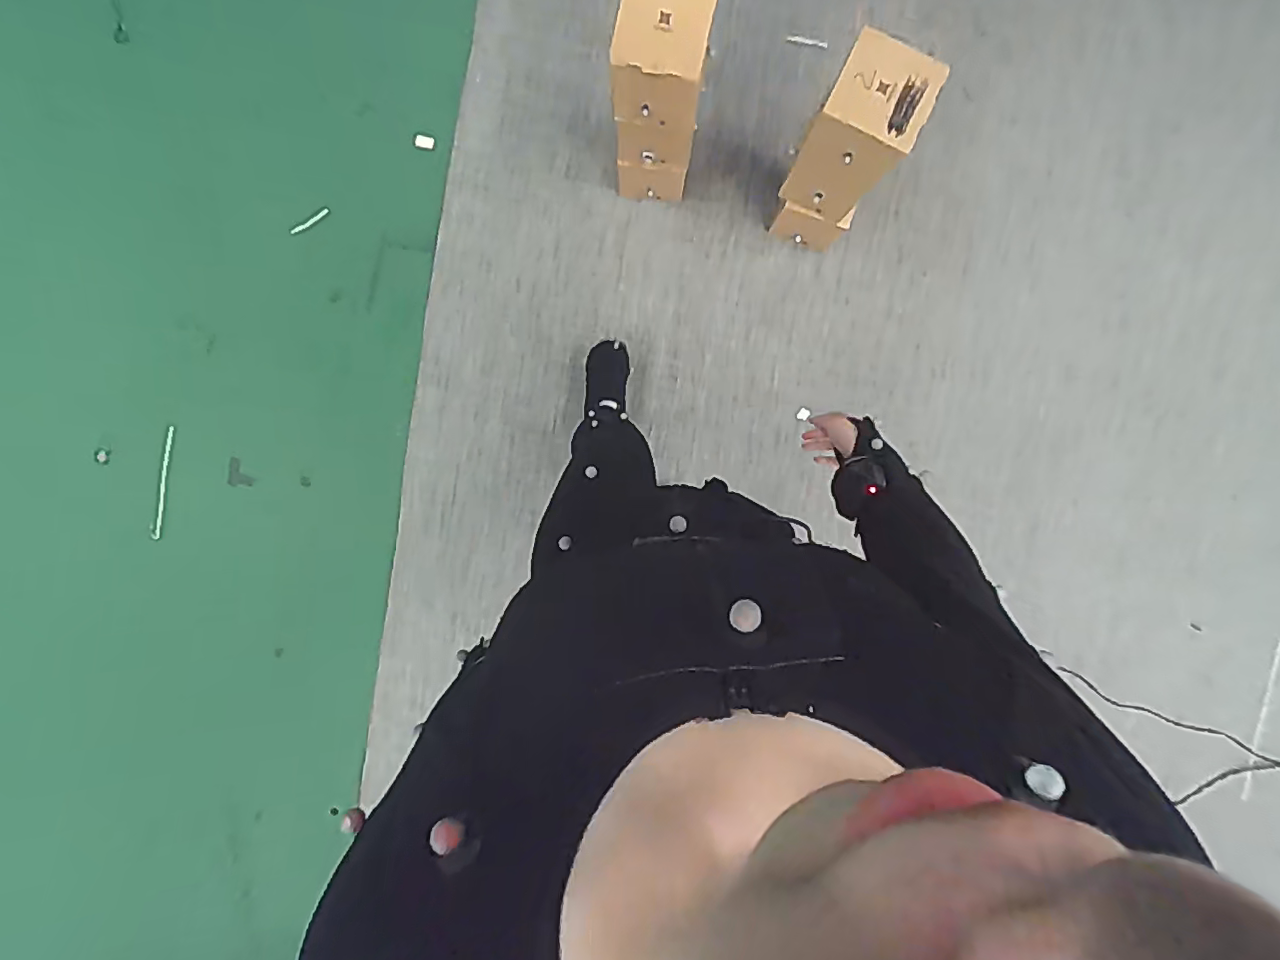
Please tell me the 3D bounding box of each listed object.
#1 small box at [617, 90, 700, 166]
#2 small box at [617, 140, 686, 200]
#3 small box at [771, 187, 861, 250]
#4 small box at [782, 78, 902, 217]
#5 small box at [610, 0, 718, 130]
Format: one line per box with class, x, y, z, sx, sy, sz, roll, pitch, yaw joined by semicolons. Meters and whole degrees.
small box;0.042;-0.824;1.180;0.168;0.176;0.179;6;94;0
small box;0.034;-0.830;1.342;0.168;0.176;0.179;6;94;0
small box;0.445;-0.711;1.352;0.168;0.176;0.179;20;94;-1
small box;0.430;-0.716;1.189;0.168;0.176;0.179;24;94;-2
small box;0.042;-0.810;1.018;0.168;0.176;0.179;12;93;-1
